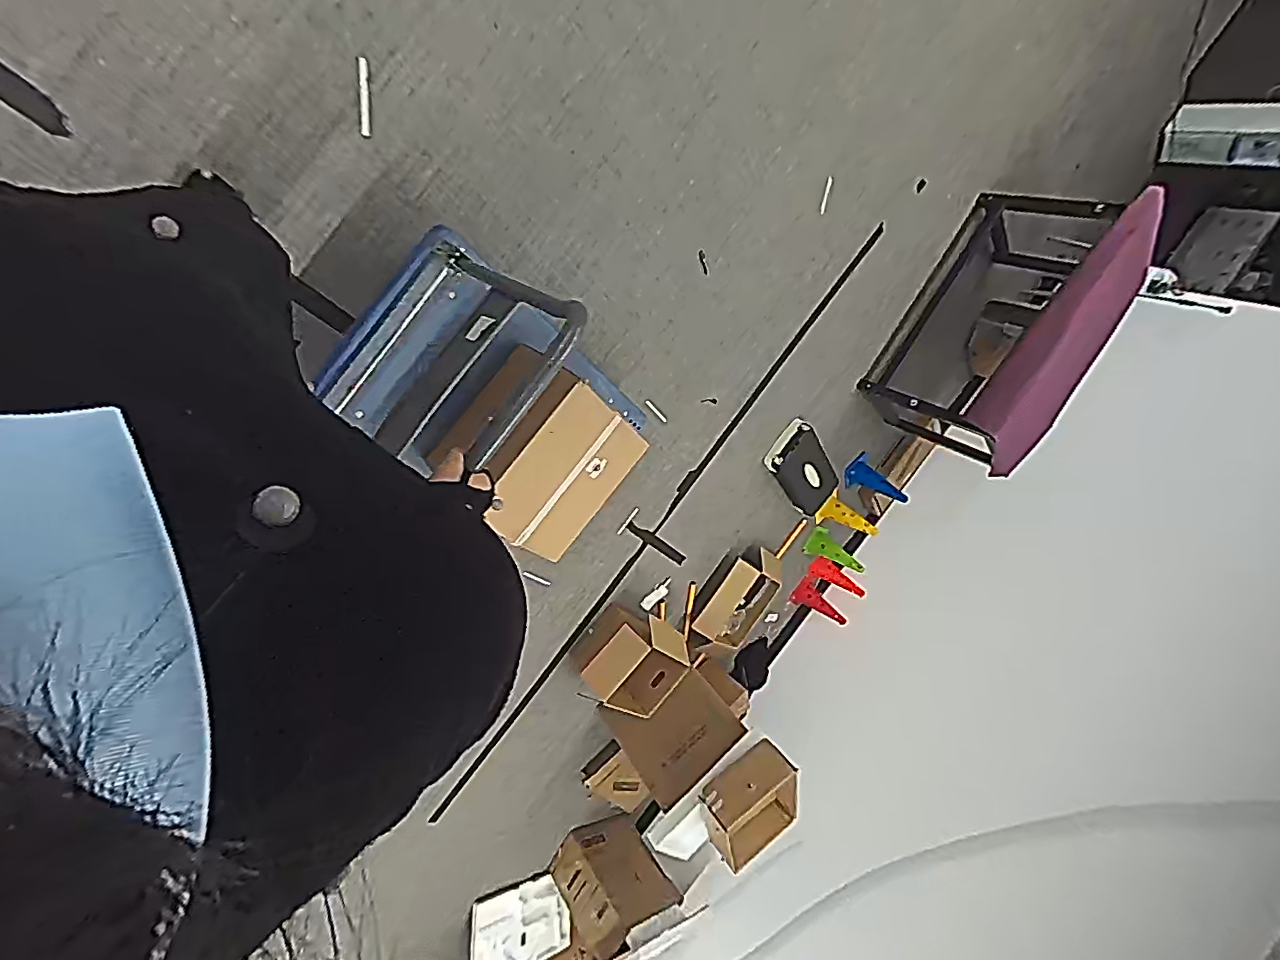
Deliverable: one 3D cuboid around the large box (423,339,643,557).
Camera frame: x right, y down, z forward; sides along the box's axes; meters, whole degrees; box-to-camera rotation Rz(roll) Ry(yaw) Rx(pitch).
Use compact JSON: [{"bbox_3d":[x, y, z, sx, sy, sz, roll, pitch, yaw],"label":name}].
[{"bbox_3d":[-0.276,-0.084,1.396,0.408,0.320,0.320,-52,139,-3],"label":"large box"}]
